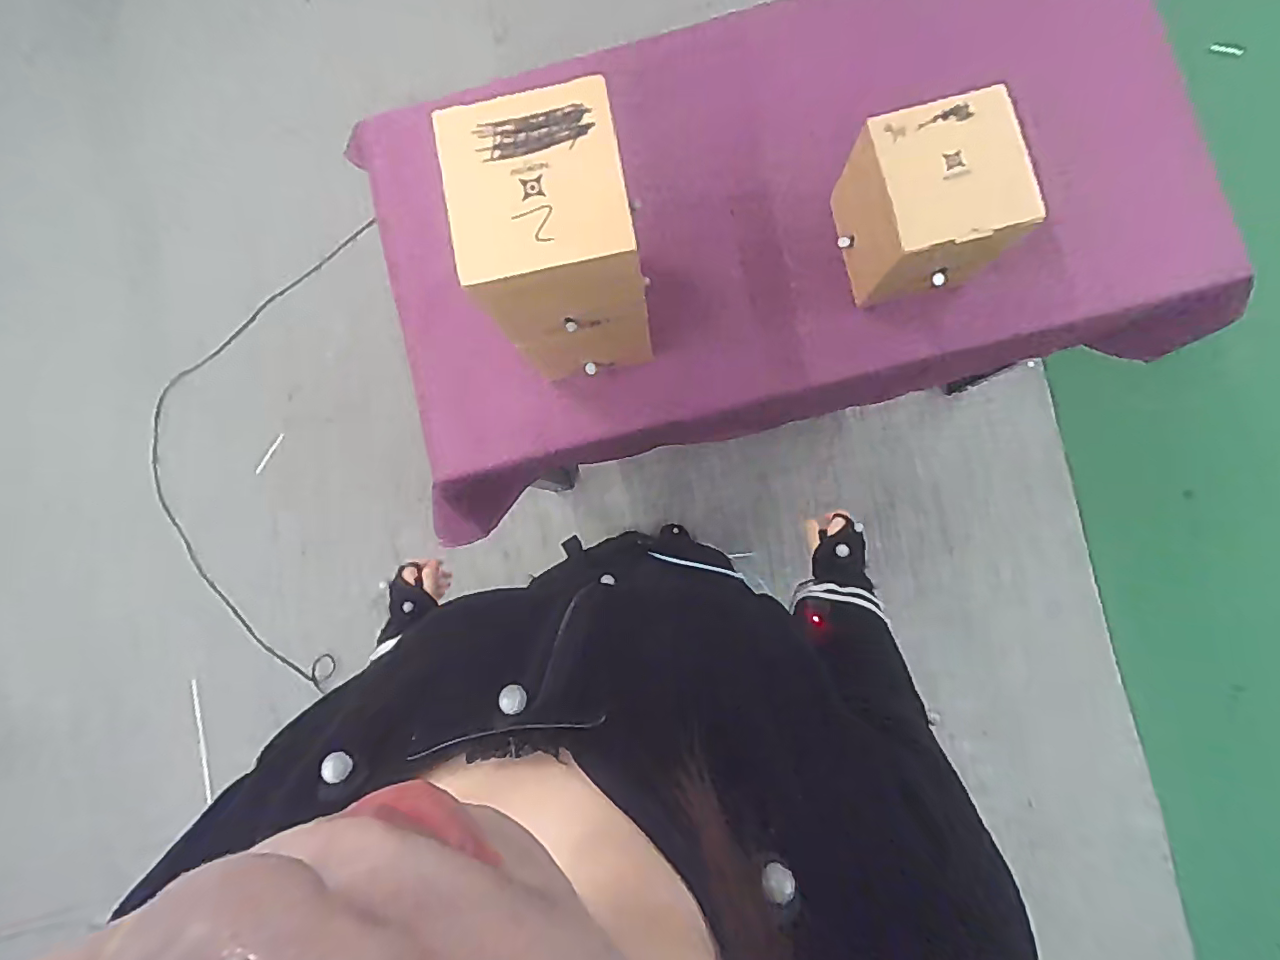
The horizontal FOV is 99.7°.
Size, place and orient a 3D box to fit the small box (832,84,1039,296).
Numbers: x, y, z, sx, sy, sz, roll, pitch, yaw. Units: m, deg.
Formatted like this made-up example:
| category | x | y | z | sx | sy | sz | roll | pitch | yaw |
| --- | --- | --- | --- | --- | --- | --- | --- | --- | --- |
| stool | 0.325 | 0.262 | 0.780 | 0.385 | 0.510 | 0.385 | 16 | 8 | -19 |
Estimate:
| category | x | y | z | sx | sy | sz | roll | pitch | yaw |
| --- | --- | --- | --- | --- | --- | --- | --- | --- | --- |
| small box | 0.373 | -0.362 | 0.715 | 0.168 | 0.176 | 0.179 | -12 | 86 | 3 |

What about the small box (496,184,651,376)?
| category | x | y | z | sx | sy | sz | roll | pitch | yaw |
| --- | --- | --- | --- | --- | --- | --- | --- | --- | --- |
| small box | -0.081 | -0.259 | 0.739 | 0.168 | 0.176 | 0.179 | -11 | 86 | 3 |
